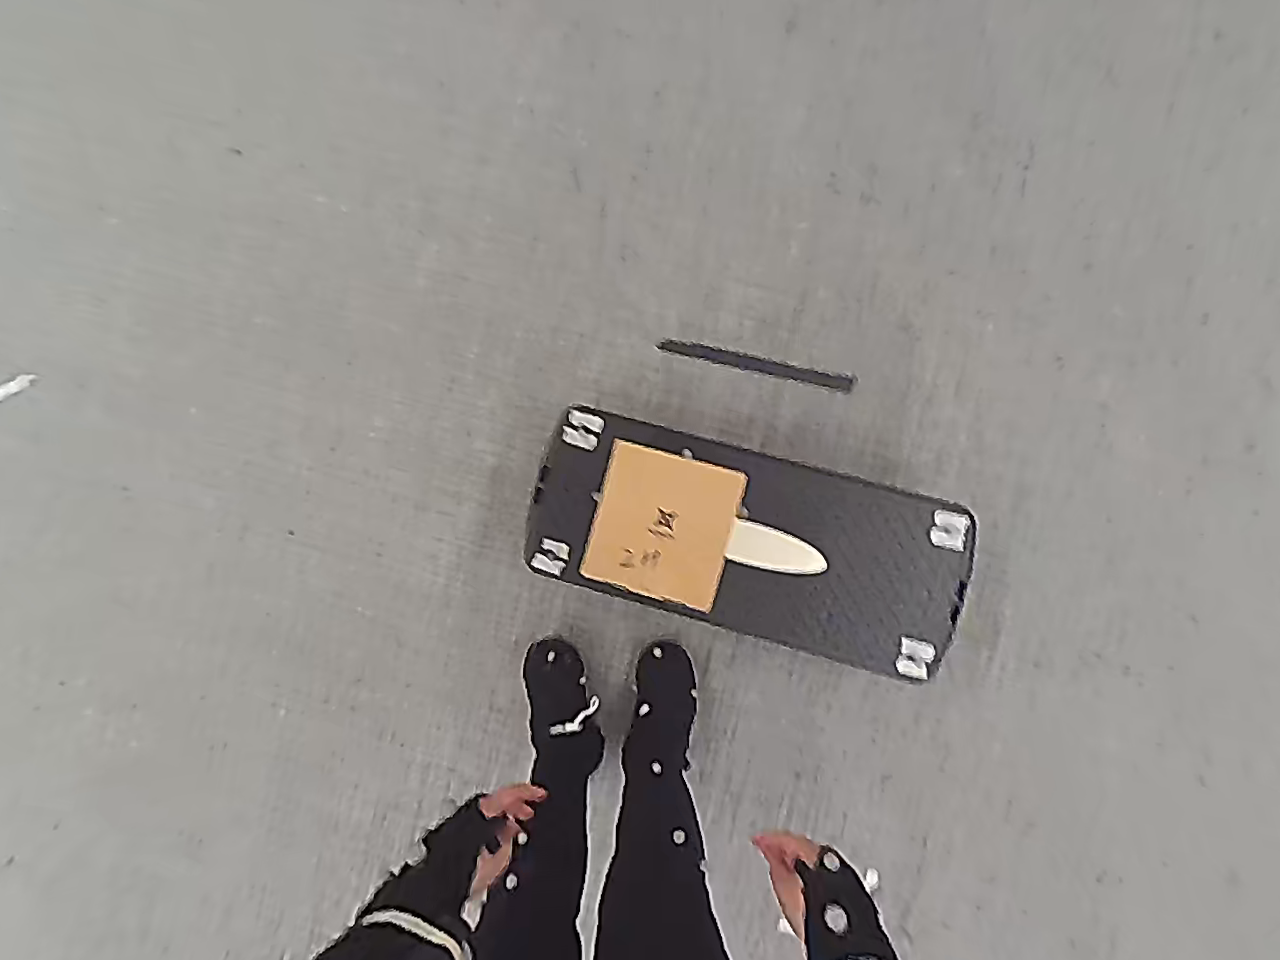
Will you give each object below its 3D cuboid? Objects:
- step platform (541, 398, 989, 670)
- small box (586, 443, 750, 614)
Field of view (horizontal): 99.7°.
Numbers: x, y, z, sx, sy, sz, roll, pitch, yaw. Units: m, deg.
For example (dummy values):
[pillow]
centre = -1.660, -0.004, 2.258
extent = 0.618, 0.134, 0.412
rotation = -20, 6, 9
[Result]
[step platform]
centre = 0.187, 0.079, 0.904
extent = 0.684, 0.204, 0.286
rotation = 15, 90, 5
[small box]
centre = 0.039, 0.060, 0.741
extent = 0.168, 0.176, 0.179
rotation = 16, 90, 5
